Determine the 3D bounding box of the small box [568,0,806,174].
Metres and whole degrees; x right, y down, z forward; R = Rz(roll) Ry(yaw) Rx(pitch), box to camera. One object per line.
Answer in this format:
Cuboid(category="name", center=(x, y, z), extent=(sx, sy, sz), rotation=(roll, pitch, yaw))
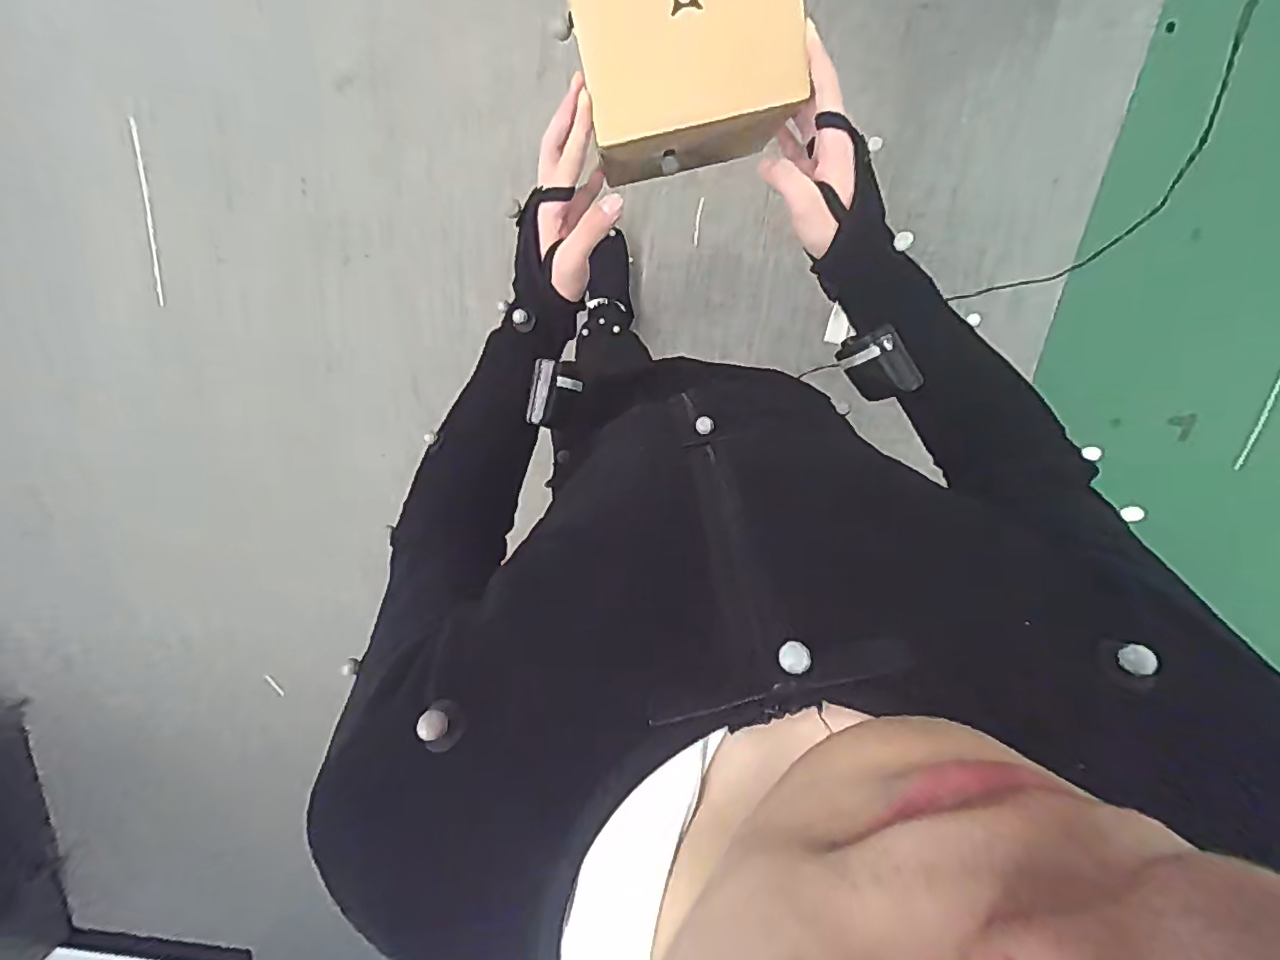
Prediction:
Cuboid(category="small box", center=(0.030, -0.379, 0.458), extent=(0.168, 0.176, 0.179), rotation=(-11, 107, 3))
